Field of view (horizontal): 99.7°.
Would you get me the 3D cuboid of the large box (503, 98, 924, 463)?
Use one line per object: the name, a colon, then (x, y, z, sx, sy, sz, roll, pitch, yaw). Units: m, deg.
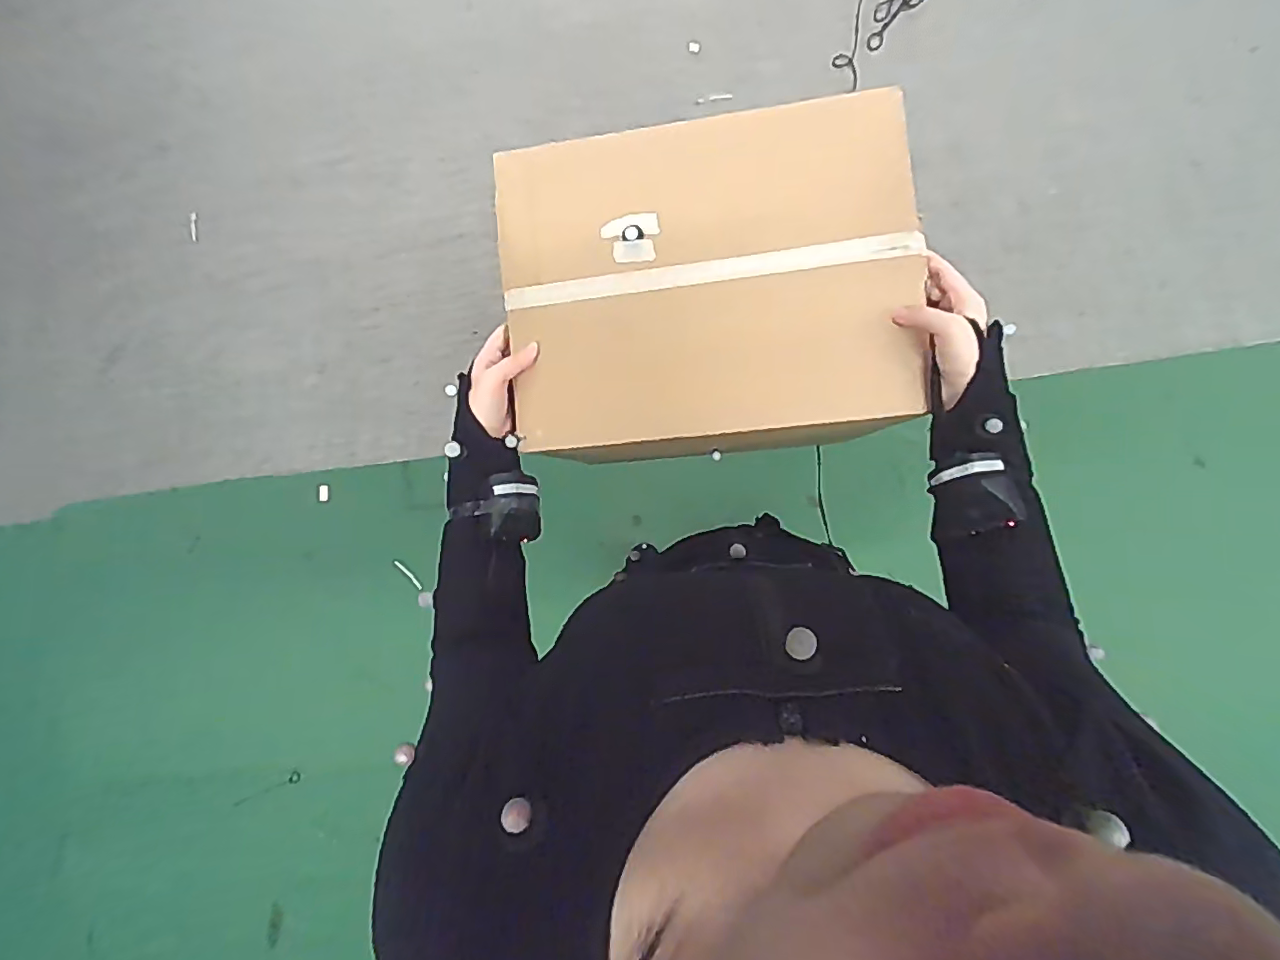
large box: (0.085, -0.197, 0.692, 0.408, 0.320, 0.320, -5, 88, 9)
